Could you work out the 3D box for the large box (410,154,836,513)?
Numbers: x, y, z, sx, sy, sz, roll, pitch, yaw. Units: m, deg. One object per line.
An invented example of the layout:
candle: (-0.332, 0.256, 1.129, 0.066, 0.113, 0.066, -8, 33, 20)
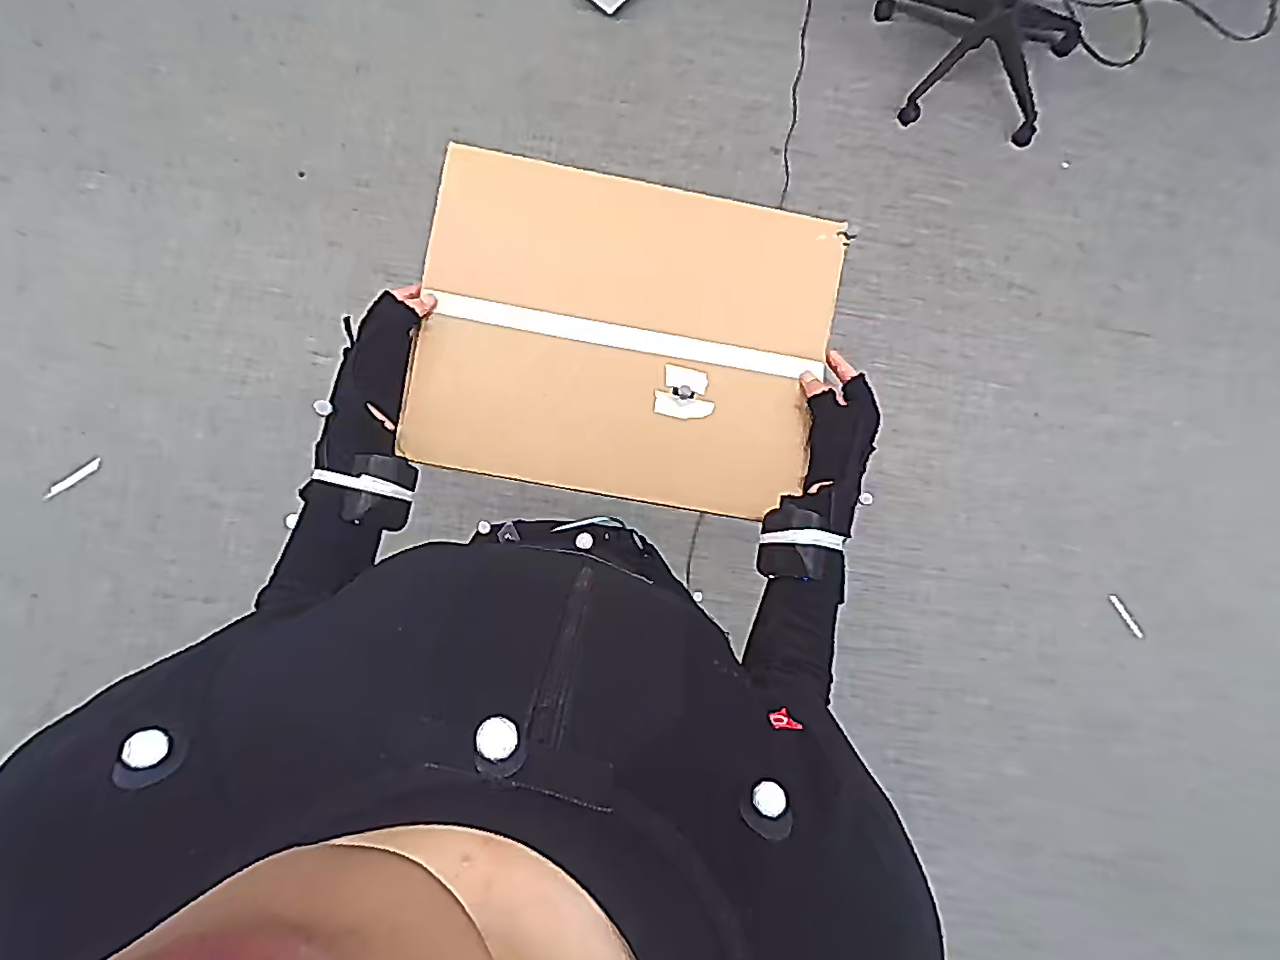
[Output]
large box: (-0.024, -0.145, 0.697, 0.408, 0.320, 0.320, 10, 90, -4)
